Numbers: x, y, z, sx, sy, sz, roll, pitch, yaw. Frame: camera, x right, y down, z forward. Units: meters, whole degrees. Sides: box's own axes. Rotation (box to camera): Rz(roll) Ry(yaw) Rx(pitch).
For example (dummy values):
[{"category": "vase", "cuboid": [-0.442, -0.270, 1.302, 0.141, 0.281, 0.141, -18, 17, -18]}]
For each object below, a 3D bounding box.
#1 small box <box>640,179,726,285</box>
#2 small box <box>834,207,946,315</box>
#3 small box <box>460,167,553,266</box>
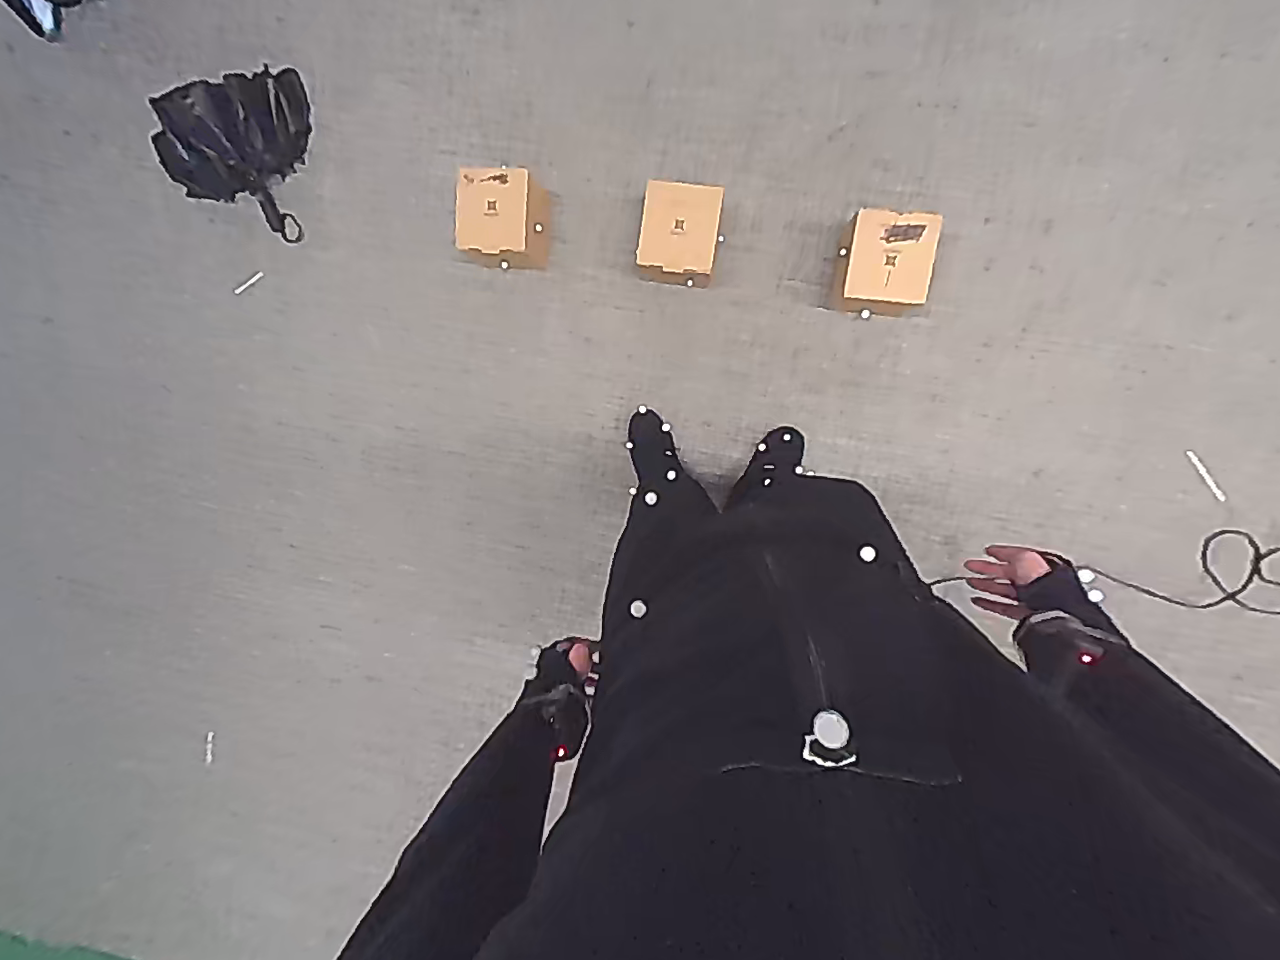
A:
[{"category": "small box", "cuboid": [0.100, -0.552, 1.226, 0.168, 0.176, 0.179, 9, 98, 6]}, {"category": "small box", "cuboid": [0.530, -0.466, 1.172, 0.168, 0.176, 0.179, 8, 100, 8]}, {"category": "small box", "cuboid": [-0.309, -0.612, 1.274, 0.168, 0.176, 0.179, 5, 100, 7]}]
